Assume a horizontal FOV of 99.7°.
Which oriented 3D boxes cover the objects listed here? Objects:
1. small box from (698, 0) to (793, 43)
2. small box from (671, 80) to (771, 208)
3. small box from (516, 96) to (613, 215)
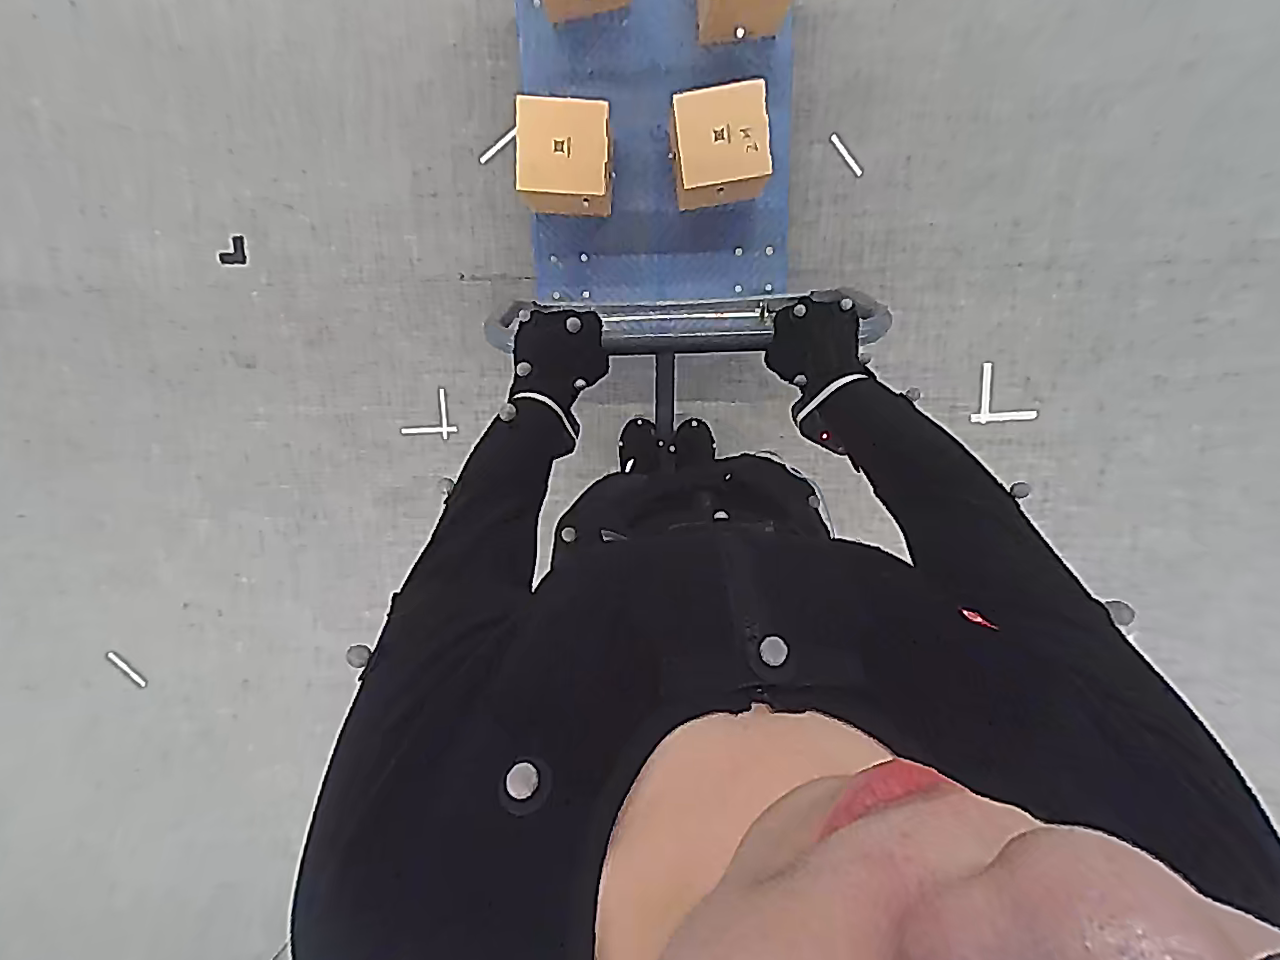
[{"bbox_3d":[0.197,-0.979,1.024,0.168,0.176,0.179,-5,104,2],"label":"small box"},{"bbox_3d":[0.158,-0.670,1.099,0.179,0.176,0.168,-8,104,3],"label":"small box"},{"bbox_3d":[-0.150,-0.653,1.108,0.179,0.176,0.168,3,103,-1],"label":"small box"}]
